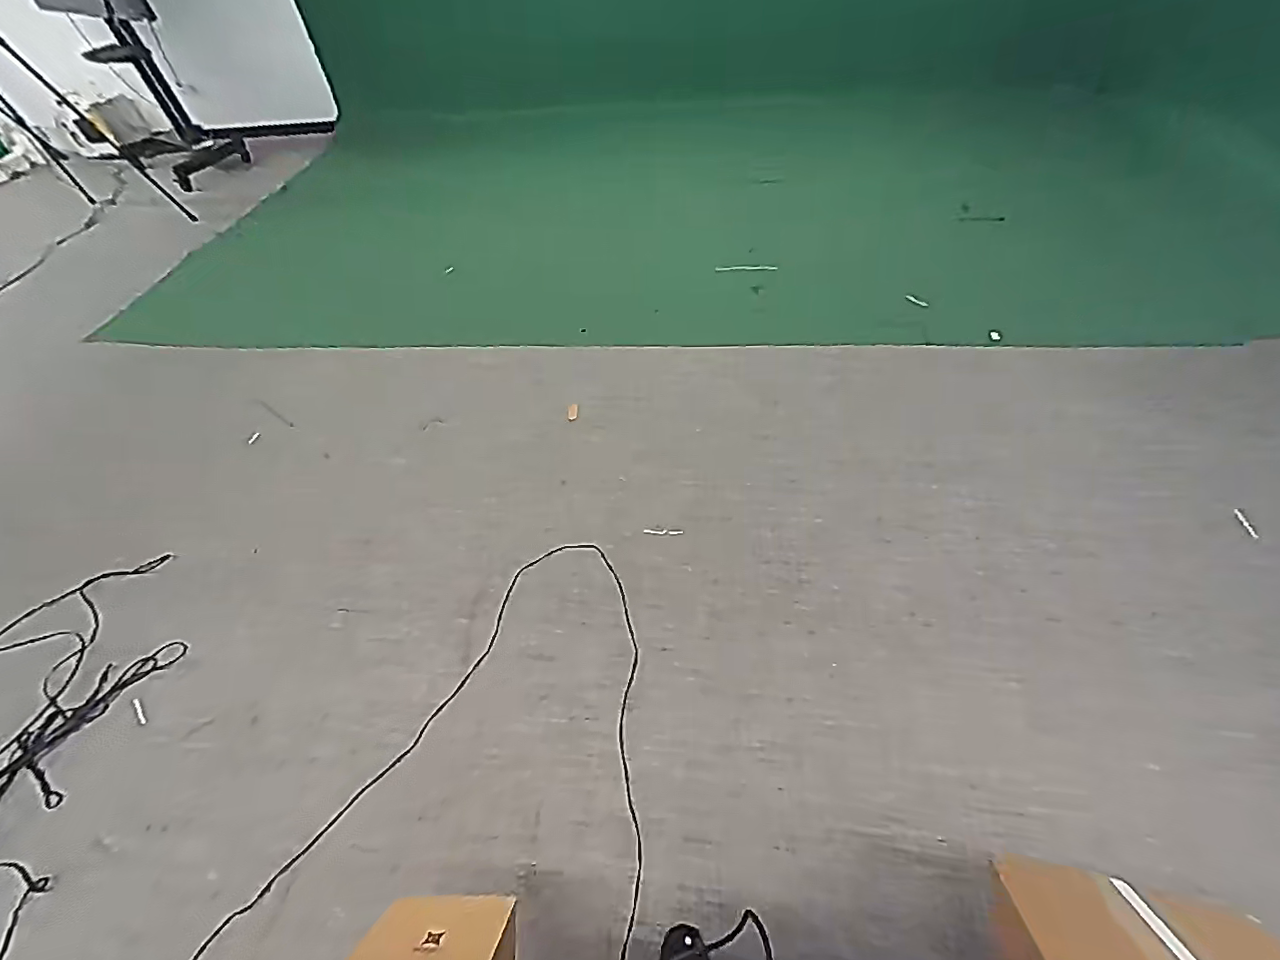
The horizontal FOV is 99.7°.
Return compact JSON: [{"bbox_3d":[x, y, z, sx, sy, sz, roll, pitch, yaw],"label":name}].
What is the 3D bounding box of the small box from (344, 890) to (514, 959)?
[{"bbox_3d":[-0.257,0.635,0.644,0.168,0.179,0.176,1,83,1],"label":"small box"}]
